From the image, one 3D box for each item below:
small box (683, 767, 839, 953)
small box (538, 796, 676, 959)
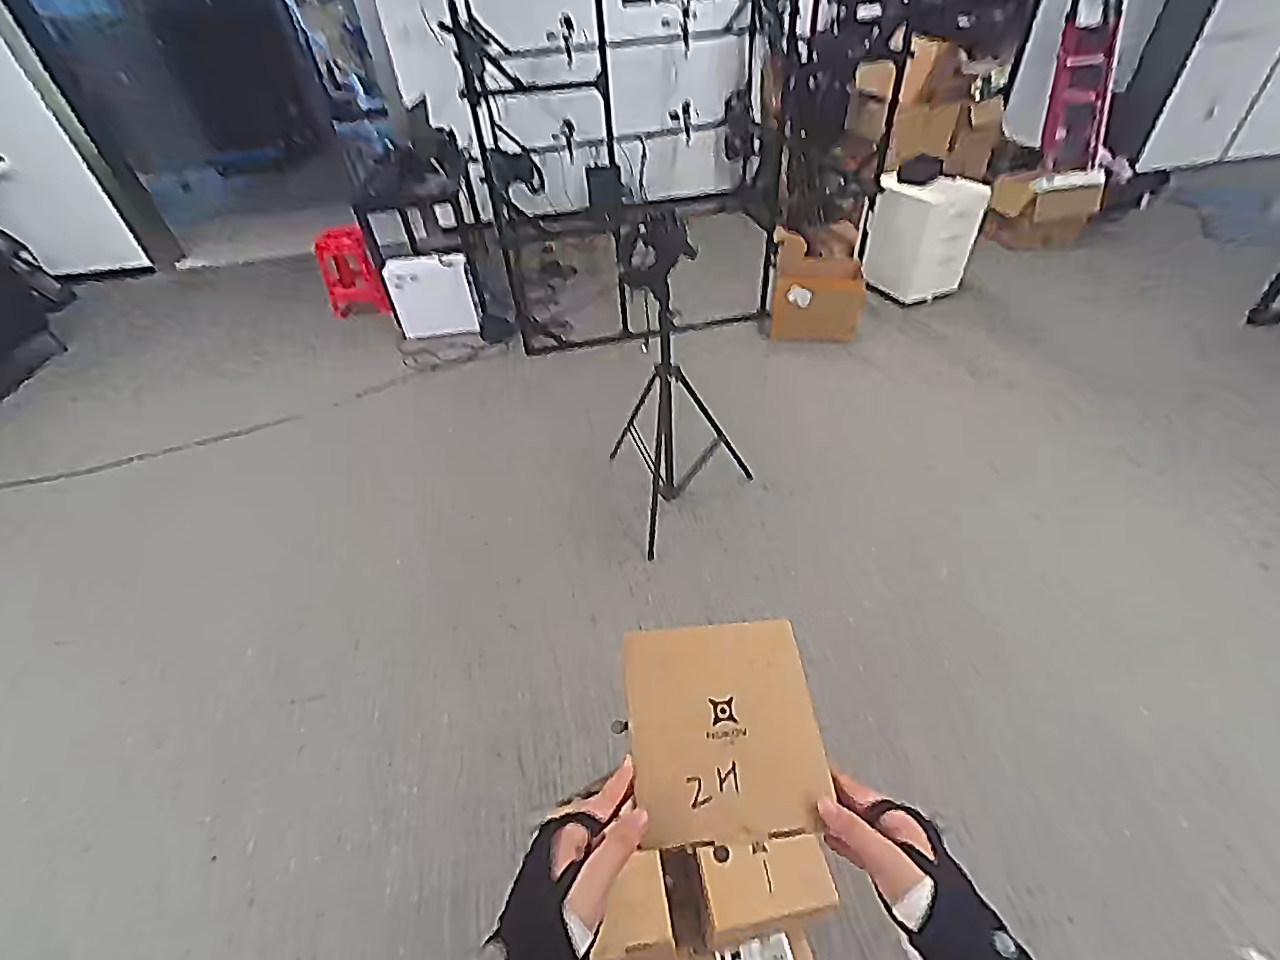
[{"bbox_3d":[0.161,0.554,0.791,0.168,0.176,0.179,-8,44,-6],"label":"small box"},{"bbox_3d":[-0.046,0.584,0.772,0.168,0.176,0.179,-10,44,-3],"label":"small box"}]
